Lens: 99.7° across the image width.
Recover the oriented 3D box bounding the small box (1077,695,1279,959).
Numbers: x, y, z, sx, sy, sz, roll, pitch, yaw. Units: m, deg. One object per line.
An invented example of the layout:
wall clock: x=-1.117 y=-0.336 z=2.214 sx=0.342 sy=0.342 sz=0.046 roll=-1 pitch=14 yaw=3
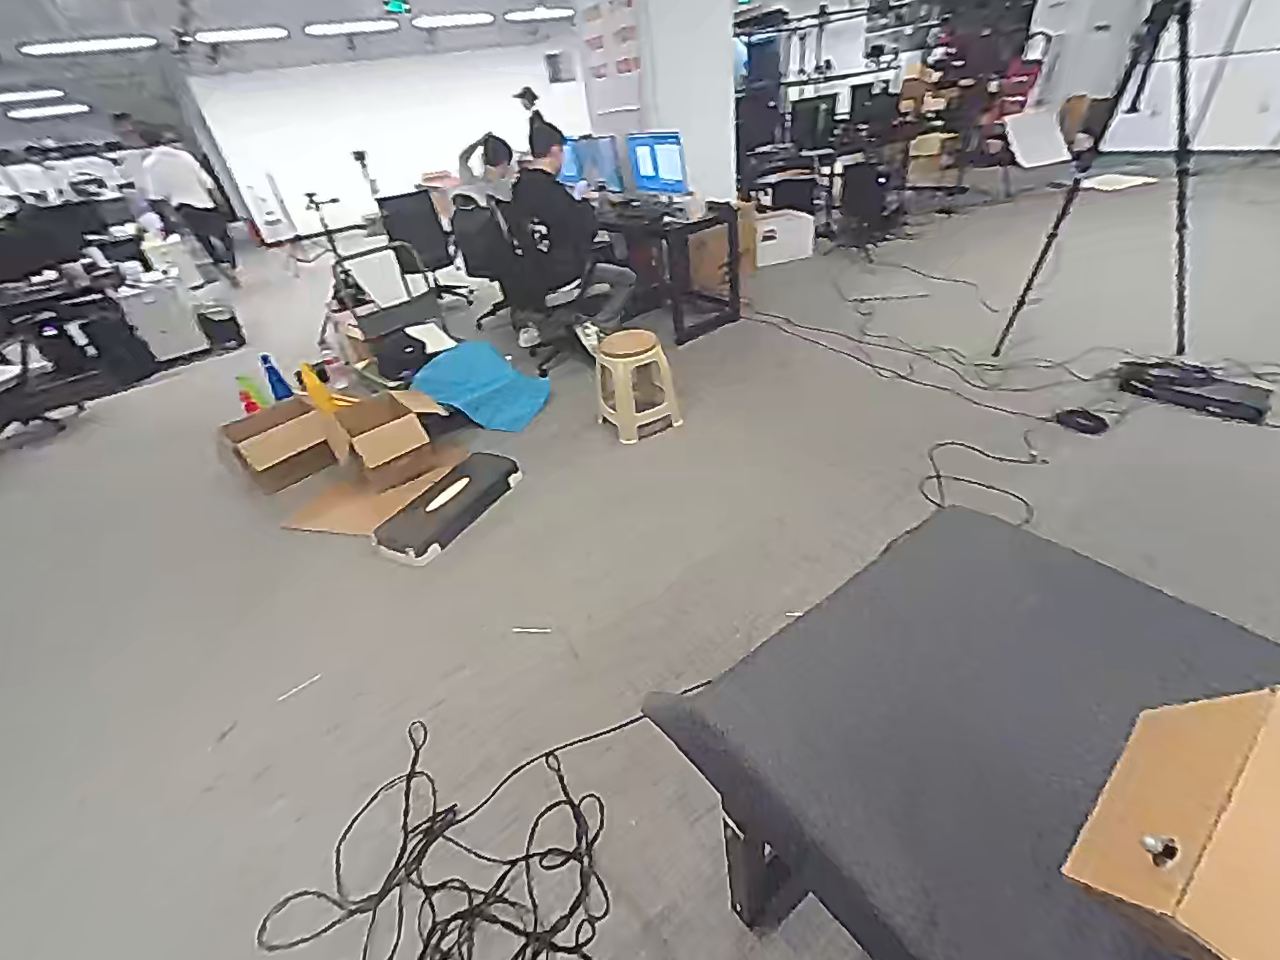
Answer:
small box: x=0.459 y=0.282 z=0.380 sx=0.168 sy=0.176 sz=0.179 roll=32 pitch=76 yaw=28
